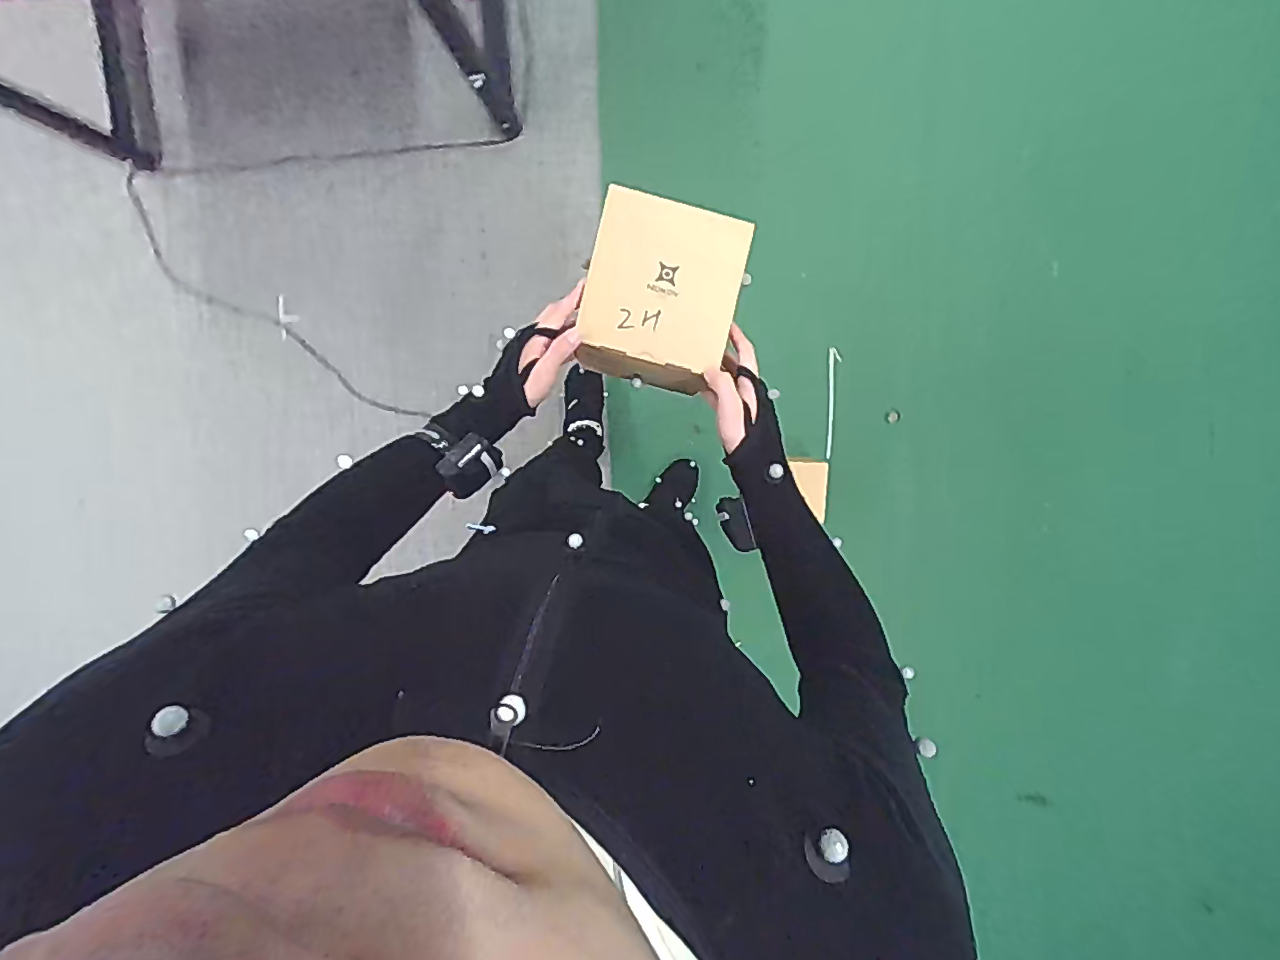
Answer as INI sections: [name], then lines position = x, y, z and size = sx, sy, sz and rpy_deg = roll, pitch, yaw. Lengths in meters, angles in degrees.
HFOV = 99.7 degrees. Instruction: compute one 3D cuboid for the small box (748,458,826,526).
[small box]
position = 0.407, 0.028, 1.518
size = 0.179, 0.176, 0.168
rpy_deg = 3, 97, 4
